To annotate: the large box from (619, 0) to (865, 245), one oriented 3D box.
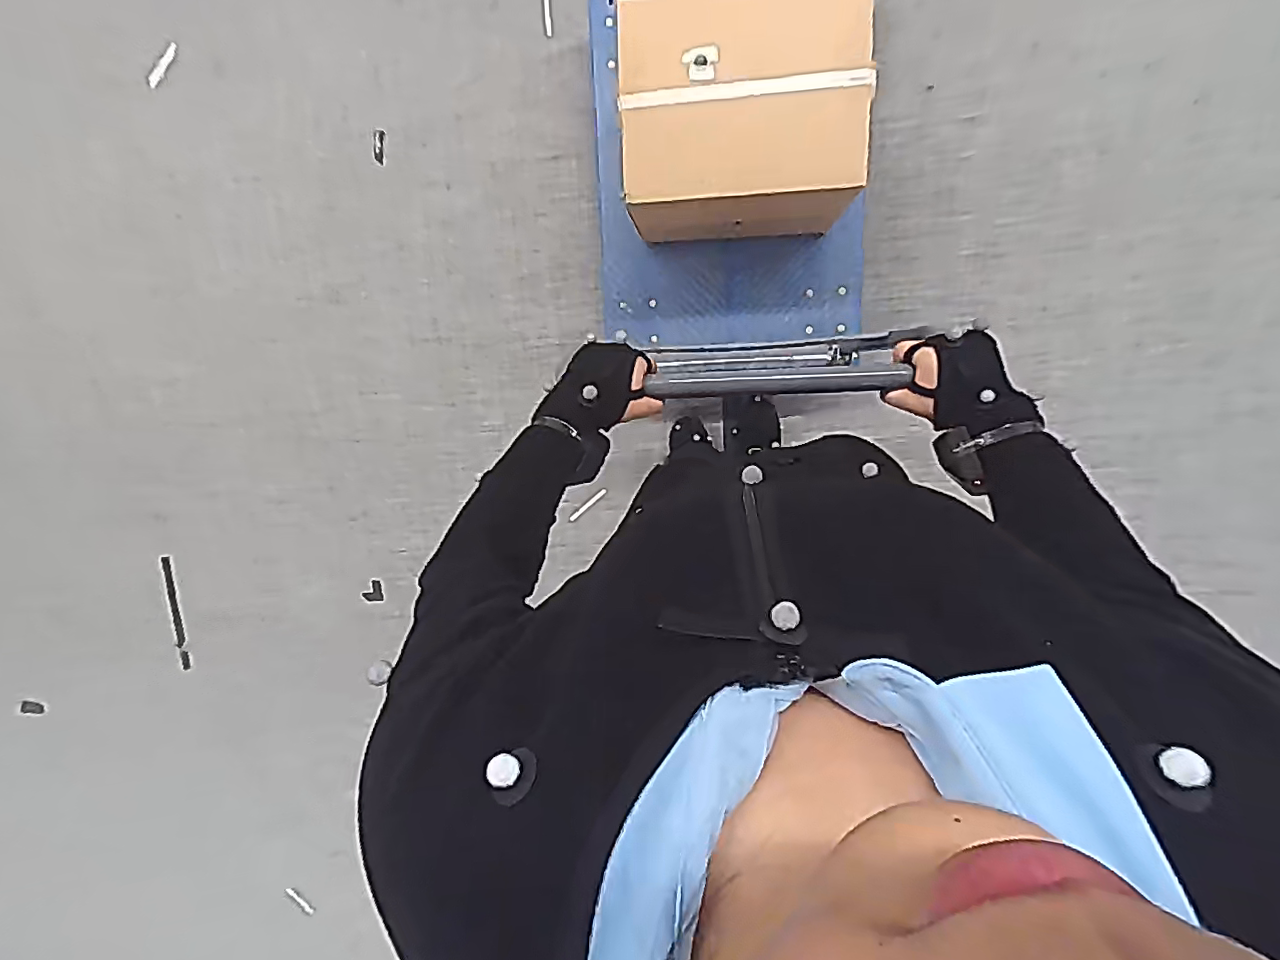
[{"bbox_3d":[0.190,-0.664,1.051,0.408,0.320,0.320,-1,100,8],"label":"large box"}]
